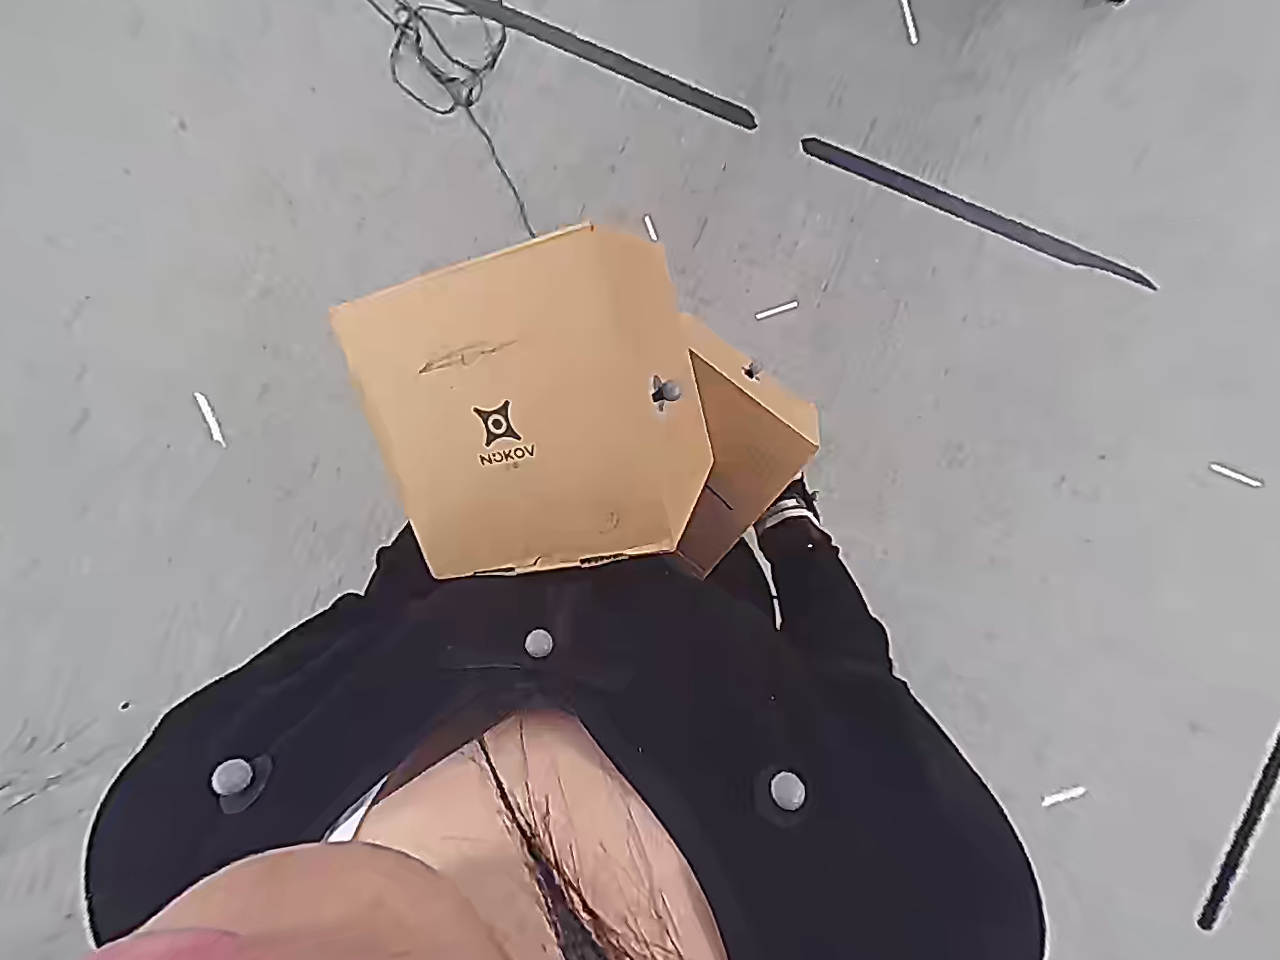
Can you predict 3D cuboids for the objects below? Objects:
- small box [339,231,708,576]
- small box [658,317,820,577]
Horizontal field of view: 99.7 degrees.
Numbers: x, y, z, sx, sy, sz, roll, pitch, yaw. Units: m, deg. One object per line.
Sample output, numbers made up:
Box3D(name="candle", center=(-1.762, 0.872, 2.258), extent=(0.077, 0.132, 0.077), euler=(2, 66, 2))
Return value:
Box3D(name="small box", center=(-0.056, -0.056, 0.379), extent=(0.168, 0.176, 0.179), euler=(-10, 106, 18))
Box3D(name="small box", center=(0.053, -0.044, 0.532), extent=(0.179, 0.176, 0.168), euler=(38, 115, 2))
